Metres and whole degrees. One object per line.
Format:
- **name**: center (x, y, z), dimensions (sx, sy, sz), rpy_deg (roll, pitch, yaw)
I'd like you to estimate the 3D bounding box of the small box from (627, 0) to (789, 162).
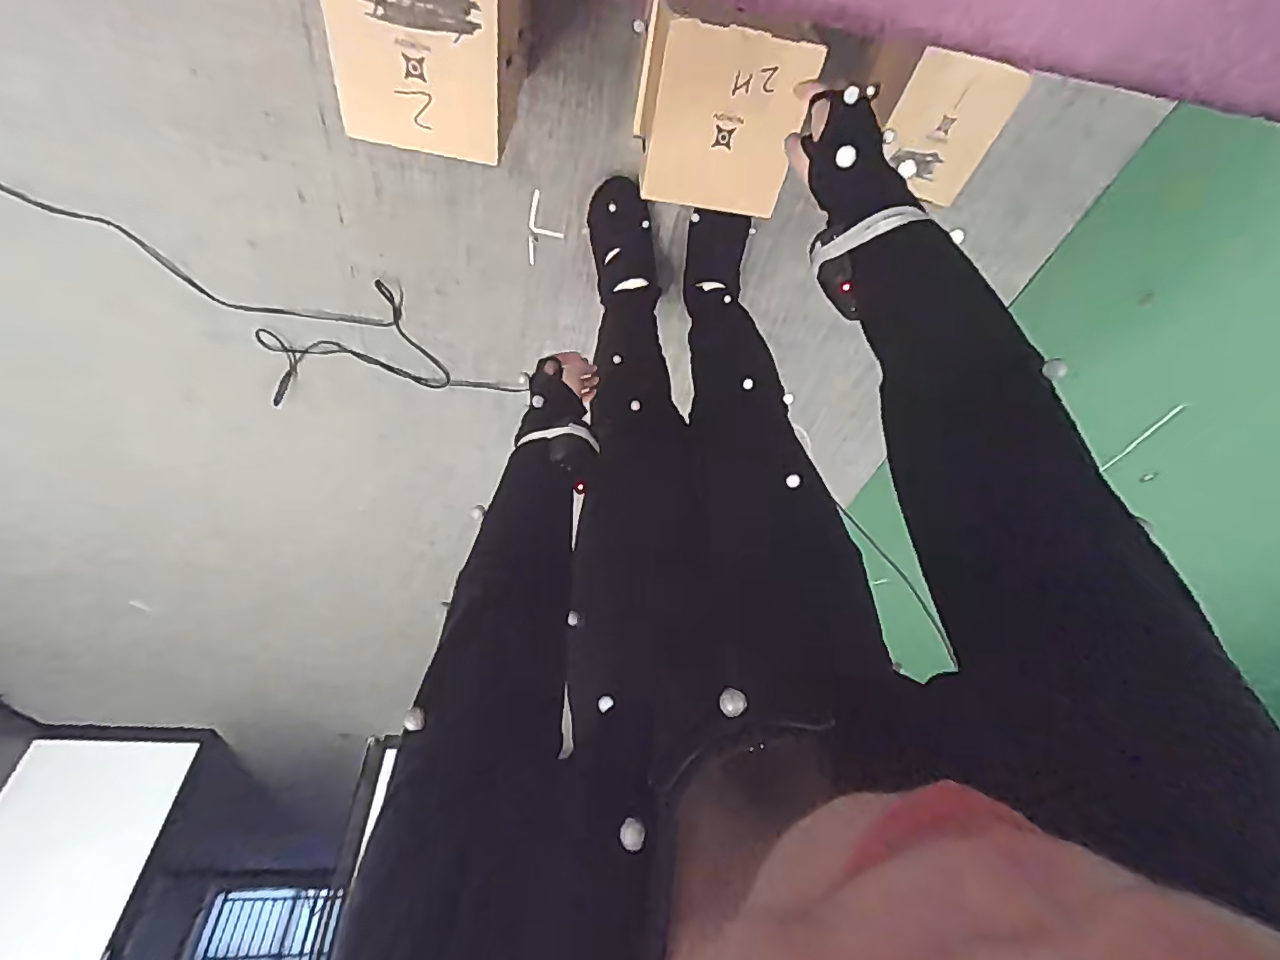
- **small box**: center (0.081, -0.579, 0.757), dimensions (0.179, 0.176, 0.168), rpy_deg (6, 139, -9)
